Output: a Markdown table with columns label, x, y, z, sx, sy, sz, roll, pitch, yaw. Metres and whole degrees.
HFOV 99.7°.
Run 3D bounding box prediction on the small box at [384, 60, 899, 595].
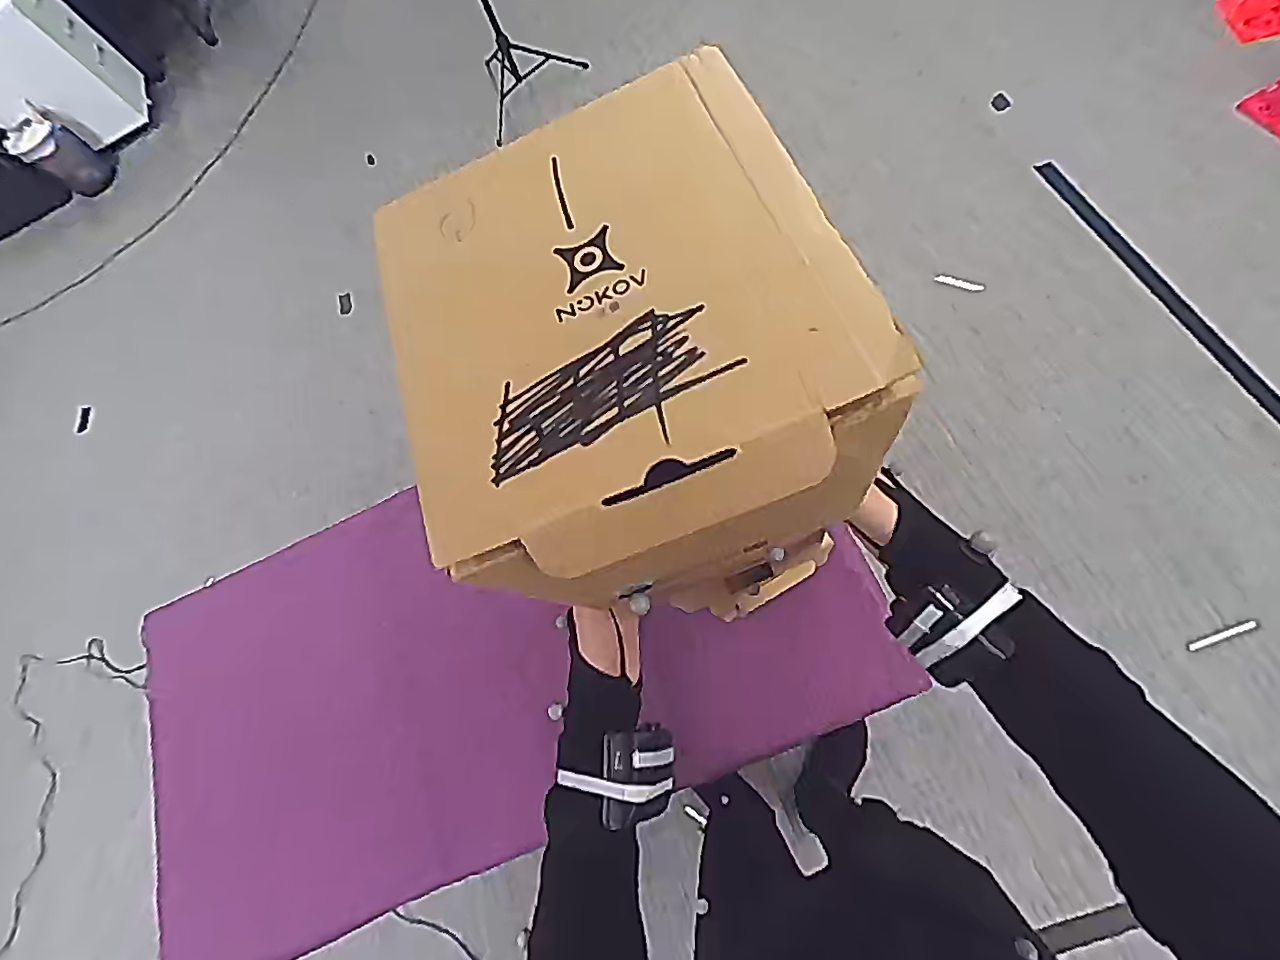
| label | x | y | z | sx | sy | sz | roll | pitch | yaw |
| --- | --- | --- | --- | --- | --- | --- | --- | --- | --- |
| small box | 0.003 | -0.048 | 0.281 | 0.168 | 0.176 | 0.179 | -22 | 68 | 7 |

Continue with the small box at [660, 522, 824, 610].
| label | x | y | z | sx | sy | sz | roll | pitch | yaw |
| --- | --- | --- | --- | --- | --- | --- | --- | --- | --- |
| small box | 0.081 | 0.027 | 0.590 | 0.168 | 0.176 | 0.179 | -26 | 68 | 7 |
